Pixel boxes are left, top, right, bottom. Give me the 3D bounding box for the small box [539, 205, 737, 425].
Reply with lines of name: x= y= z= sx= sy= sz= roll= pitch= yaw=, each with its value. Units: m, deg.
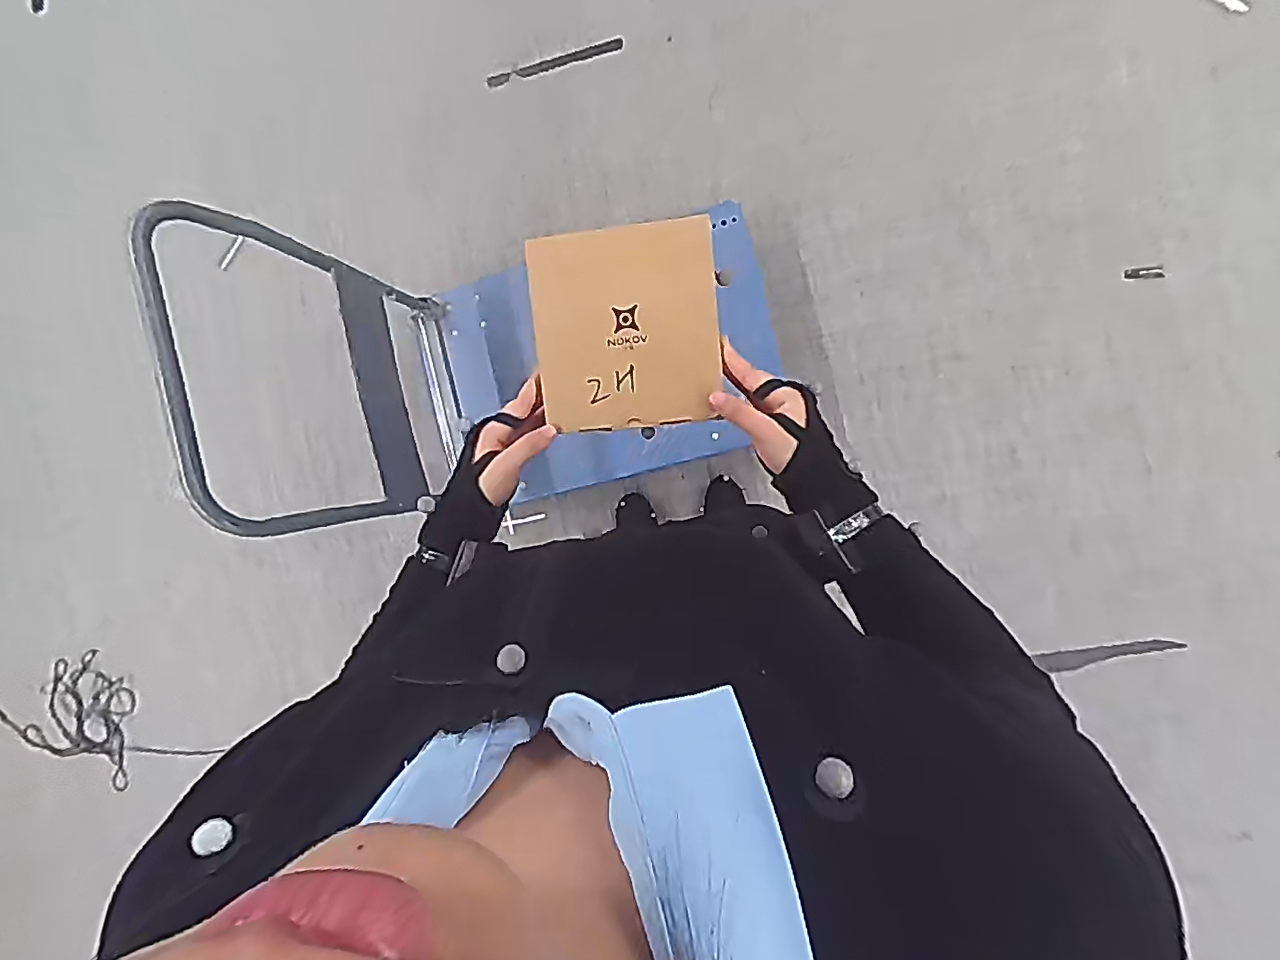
small box: x=0.007 y=-0.149 z=0.549 sx=0.168 sy=0.176 sz=0.179 roll=-4 pitch=97 yaw=8
